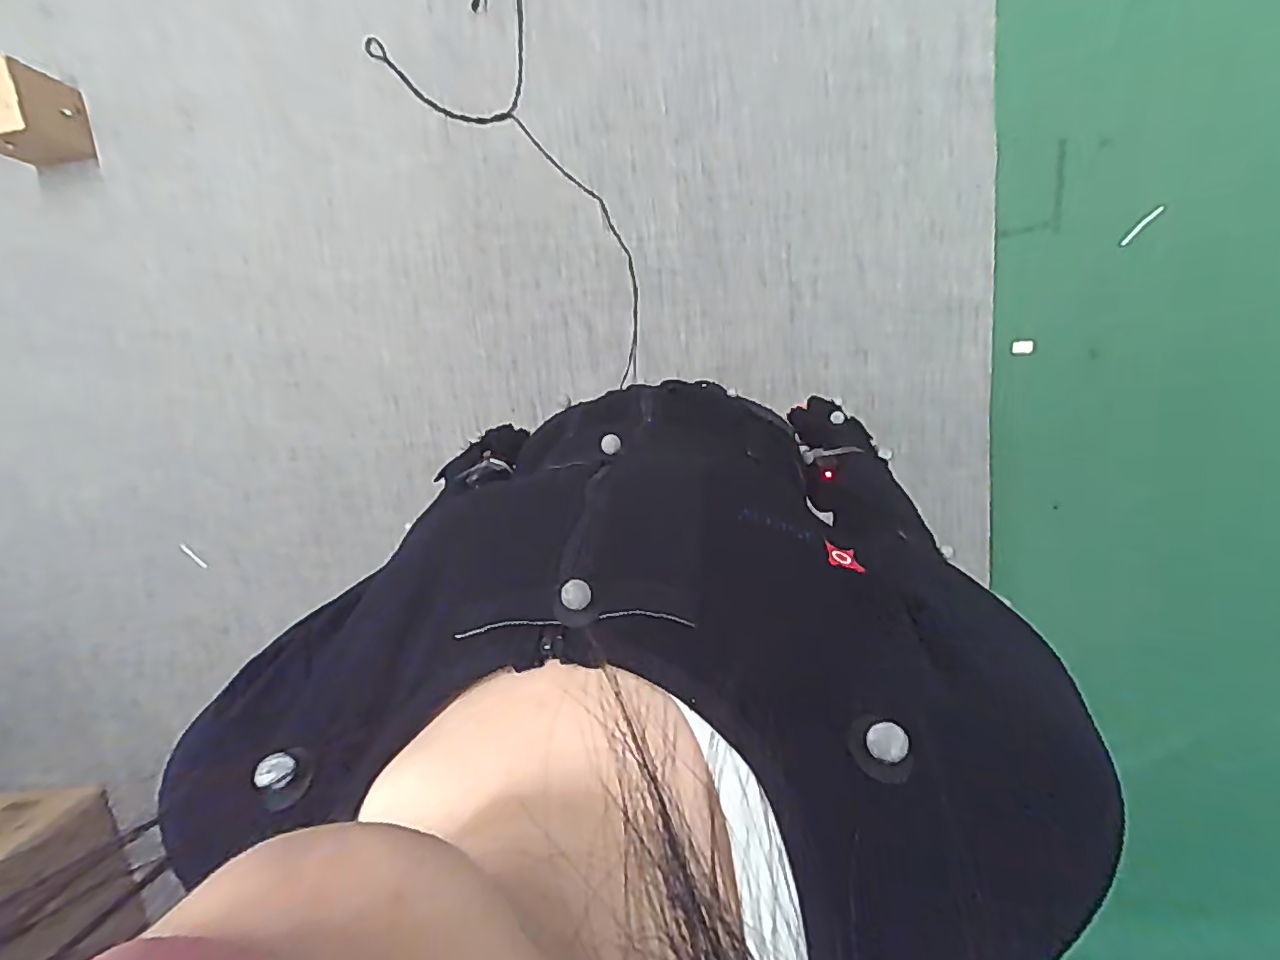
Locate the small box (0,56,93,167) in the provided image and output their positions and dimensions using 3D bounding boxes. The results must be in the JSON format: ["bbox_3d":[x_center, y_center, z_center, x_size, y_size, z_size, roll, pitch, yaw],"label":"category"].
[{"bbox_3d":[-1.548,-0.908,1.350,0.179,0.176,0.168,-7,100,5],"label":"small box"}]
